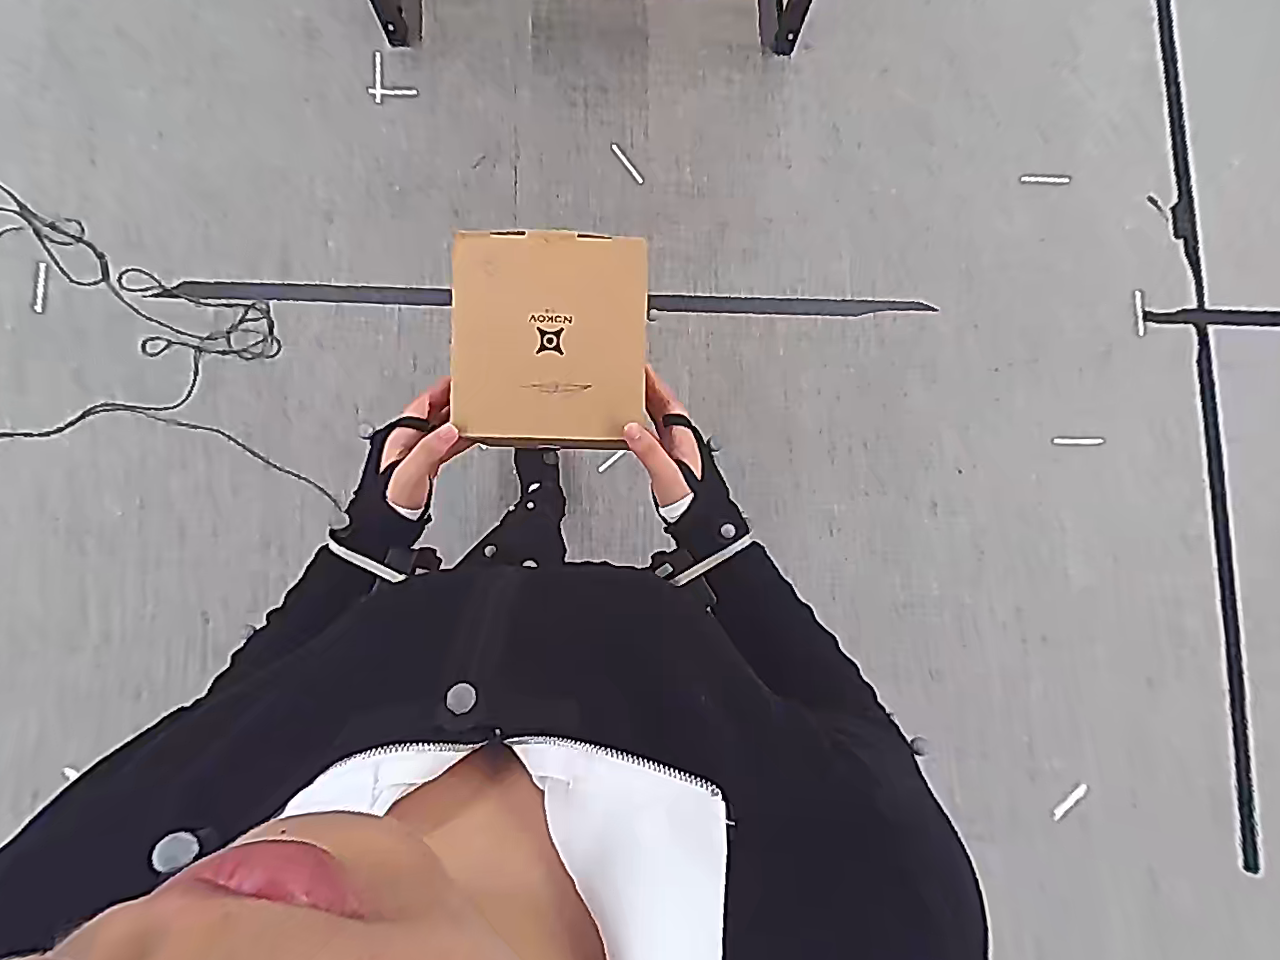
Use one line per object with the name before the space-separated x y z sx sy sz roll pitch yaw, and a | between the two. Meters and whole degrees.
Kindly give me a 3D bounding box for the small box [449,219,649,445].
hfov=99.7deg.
small box | -0.081 -0.130 0.537 0.168 0.176 0.179 1 90 -2
